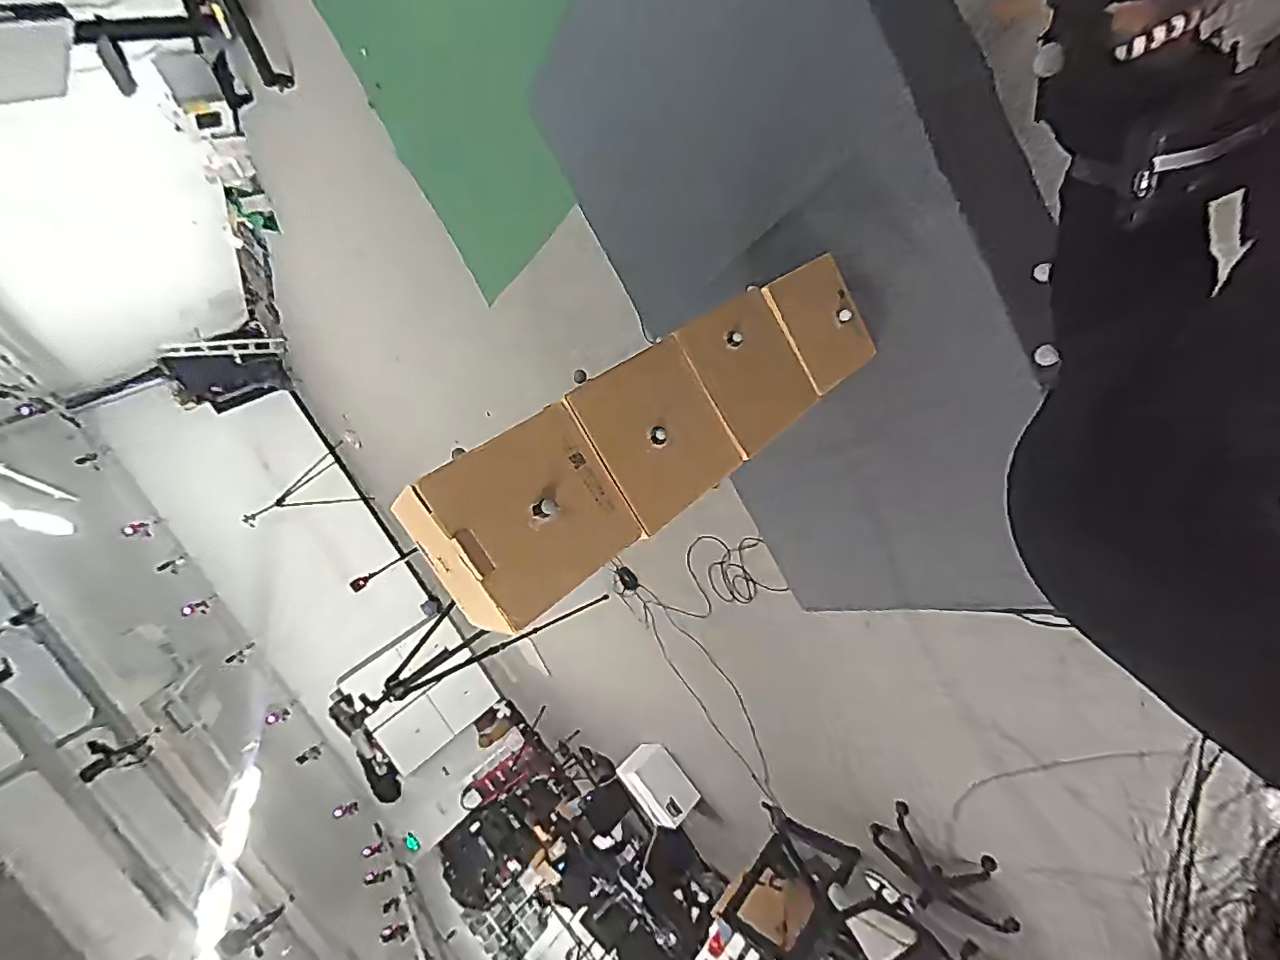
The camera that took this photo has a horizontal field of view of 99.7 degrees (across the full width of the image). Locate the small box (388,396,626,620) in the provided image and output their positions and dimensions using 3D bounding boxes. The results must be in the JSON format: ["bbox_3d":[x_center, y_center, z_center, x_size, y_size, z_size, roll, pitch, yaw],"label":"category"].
[{"bbox_3d":[-0.139,0.030,0.585,0.179,0.176,0.168,-18,105,57],"label":"small box"}]

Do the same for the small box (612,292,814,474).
[{"bbox_3d":[0.099,-0.135,0.738,0.179,0.176,0.168,59,149,-7],"label":"small box"}]

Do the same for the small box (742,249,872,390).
[{"bbox_3d":[0.212,-0.219,0.821,0.179,0.176,0.168,-16,106,56],"label":"small box"}]
